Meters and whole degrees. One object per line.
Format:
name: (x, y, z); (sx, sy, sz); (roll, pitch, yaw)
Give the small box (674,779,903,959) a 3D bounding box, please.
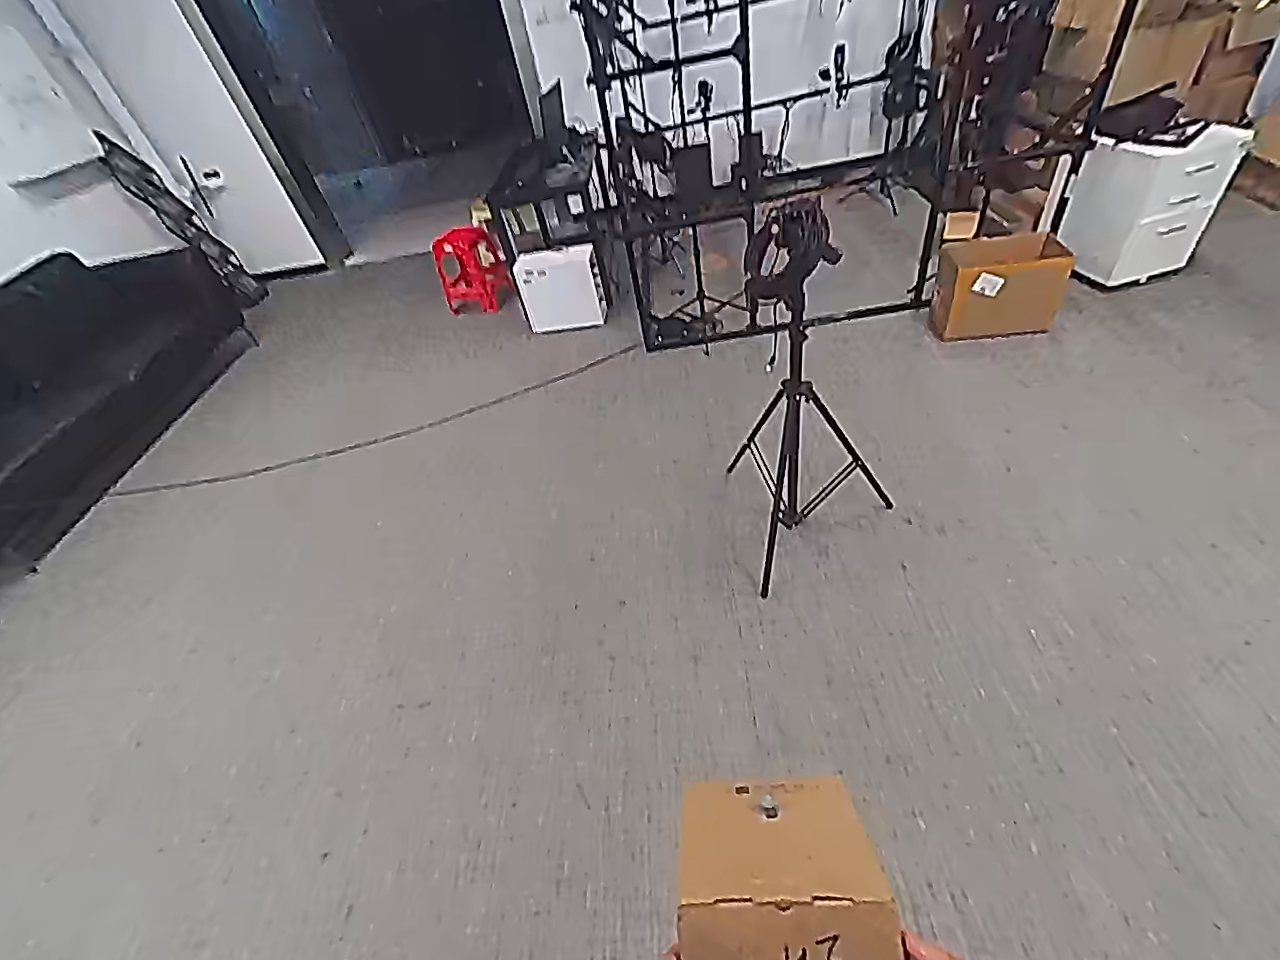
small box: (0.125, 0.398, 0.479); (0.168, 0.179, 0.176); (-6, -1, 7)
